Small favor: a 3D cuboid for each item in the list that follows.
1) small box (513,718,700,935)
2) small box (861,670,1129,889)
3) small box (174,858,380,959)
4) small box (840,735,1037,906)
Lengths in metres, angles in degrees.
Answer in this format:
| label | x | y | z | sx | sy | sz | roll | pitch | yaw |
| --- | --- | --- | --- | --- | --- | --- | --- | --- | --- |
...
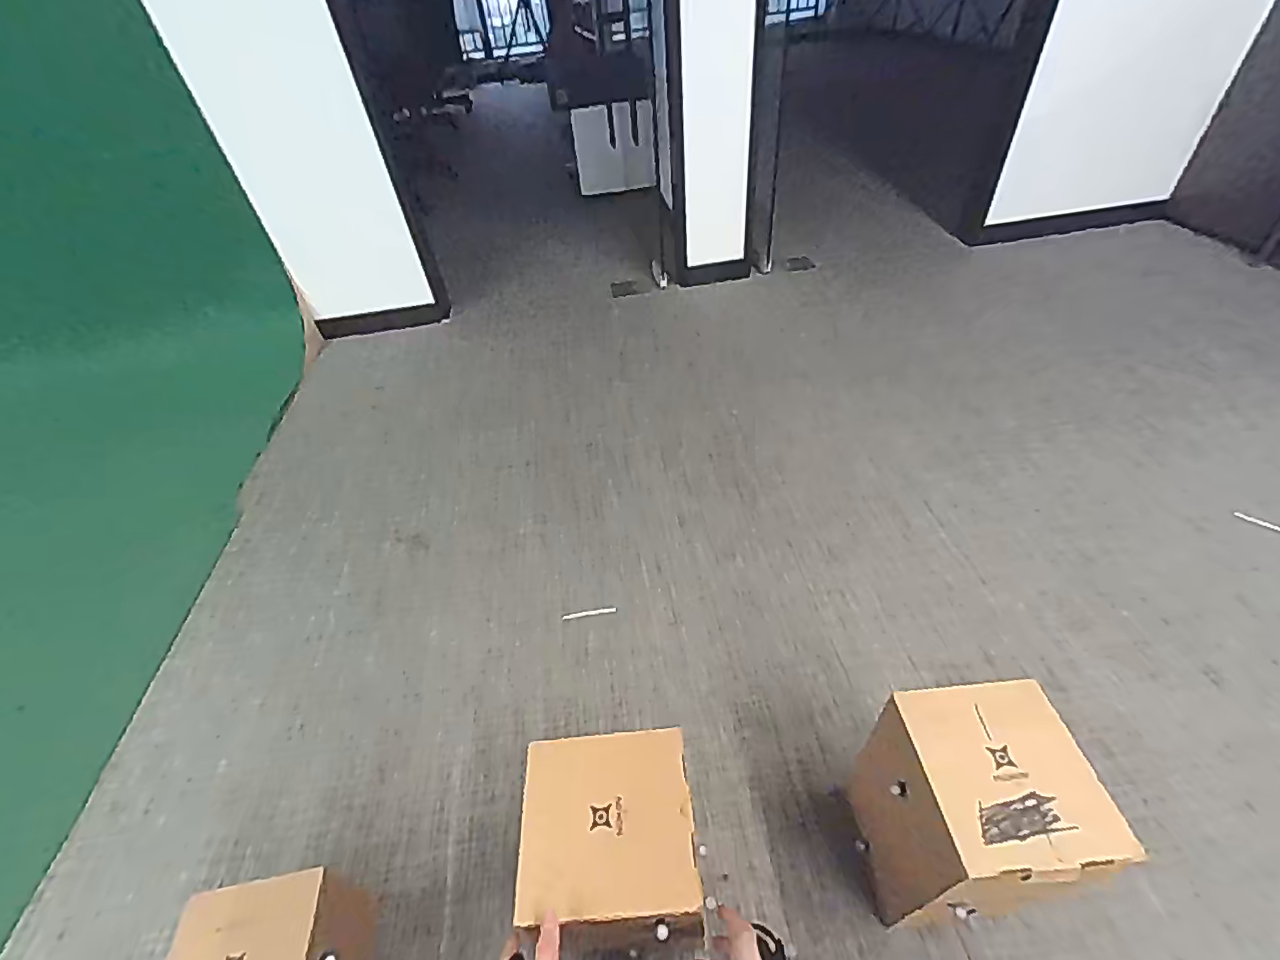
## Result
| label | x | y | z | sx | sy | sz | roll | pitch | yaw |
| --- | --- | --- | --- | --- | --- | --- | --- | --- | --- |
| small box | -0.030 | 0.394 | 0.613 | 0.179 | 0.176 | 0.168 | -6 | 43 | 1 |
| small box | 0.372 | 0.342 | 0.612 | 0.168 | 0.176 | 0.179 | -6 | 43 | 1 |
| small box | -0.453 | 0.611 | 0.681 | 0.168 | 0.176 | 0.179 | -10 | 43 | -3 |
| small box | 0.388 | 0.455 | 0.730 | 0.168 | 0.176 | 0.179 | -7 | 45 | 0 |
